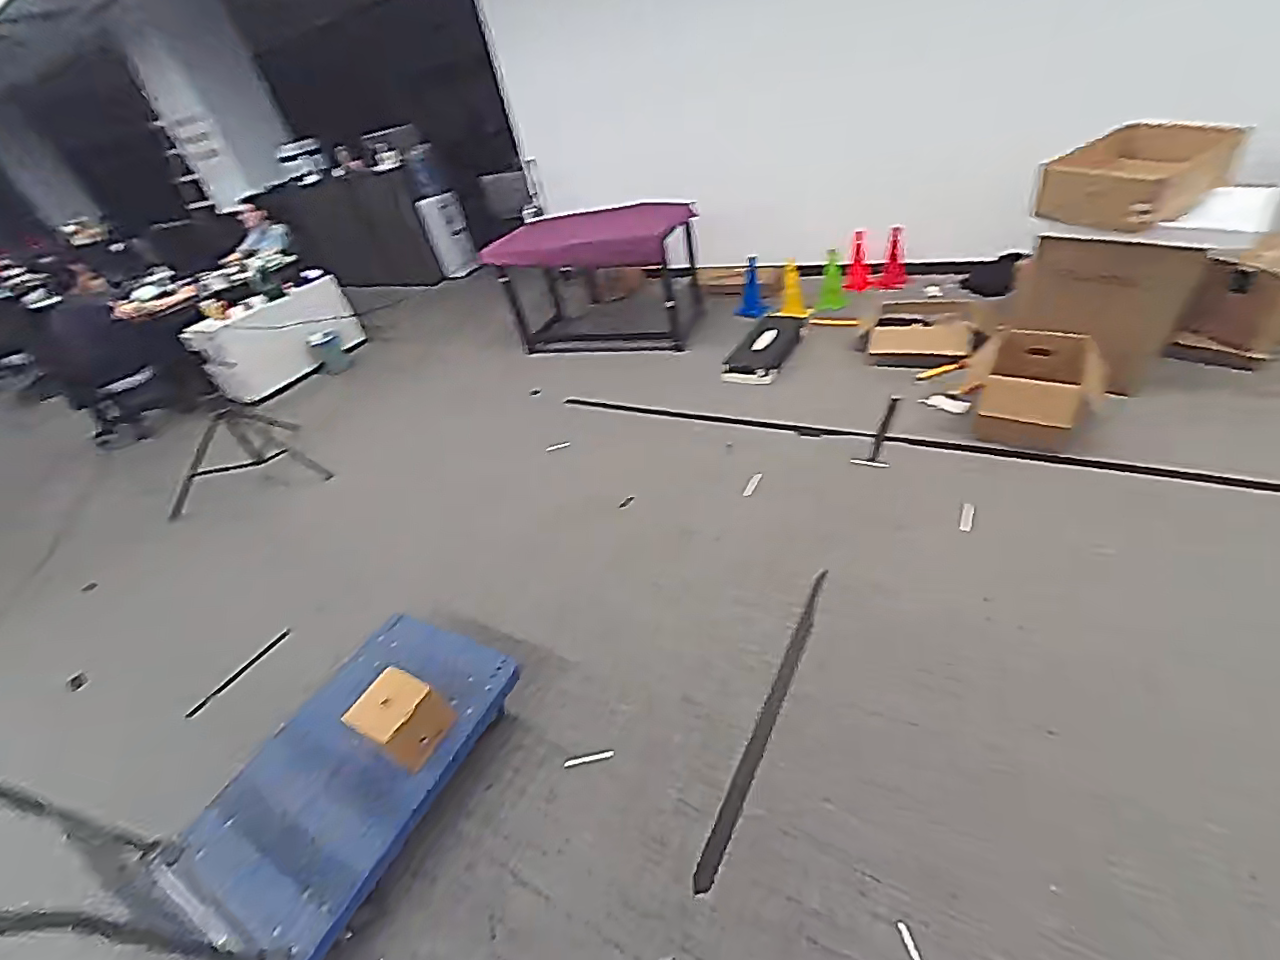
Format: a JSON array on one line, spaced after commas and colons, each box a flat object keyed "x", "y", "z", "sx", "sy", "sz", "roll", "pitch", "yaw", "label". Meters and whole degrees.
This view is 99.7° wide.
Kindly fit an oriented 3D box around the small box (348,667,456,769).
[{"x": -0.640, "y": 0.647, "z": 1.468, "sx": 0.179, "sy": 0.176, "sz": 0.168, "roll": 11, "pitch": 44, "yaw": 29, "label": "small box"}]
